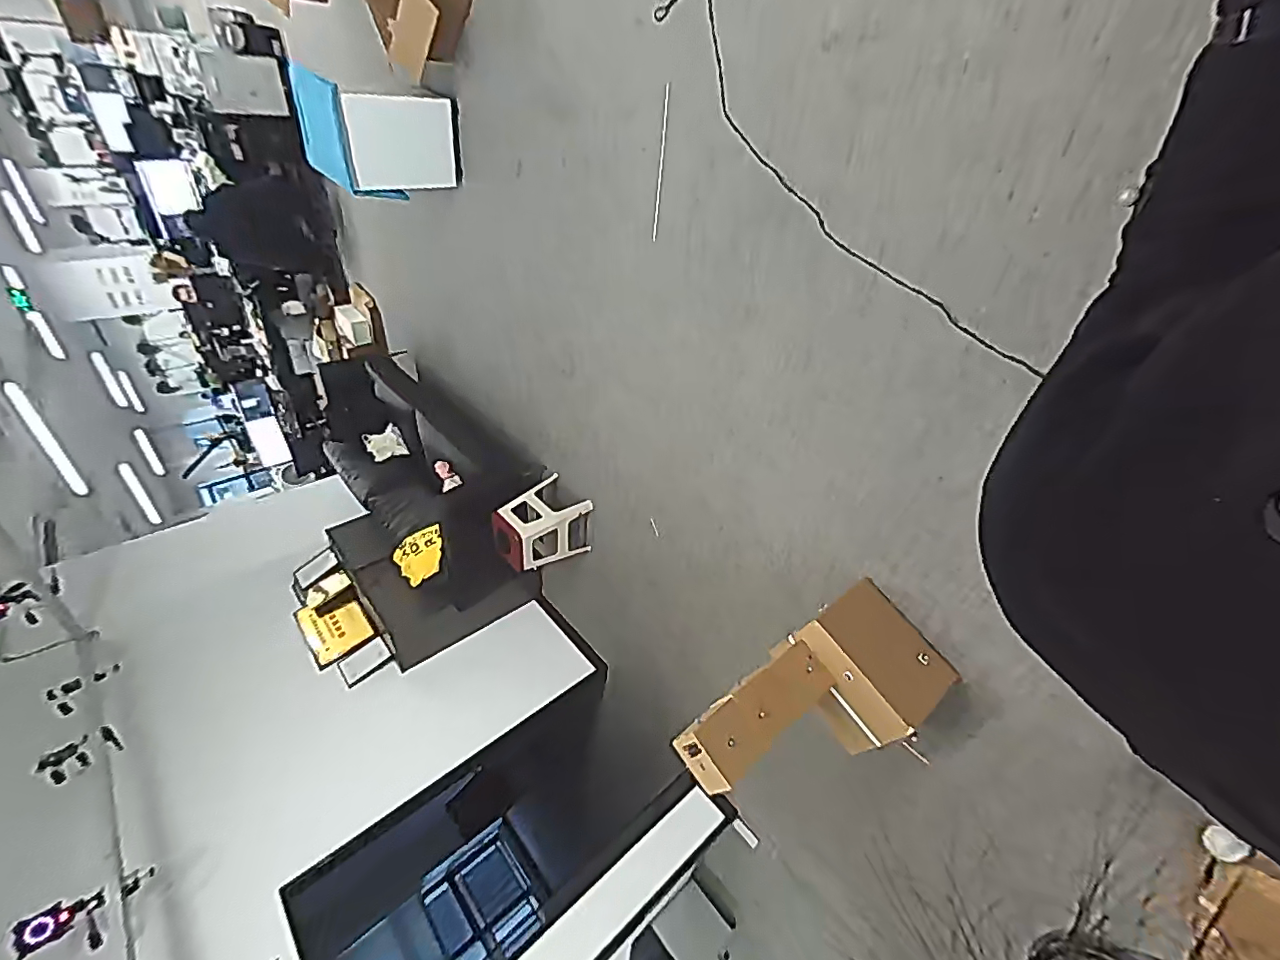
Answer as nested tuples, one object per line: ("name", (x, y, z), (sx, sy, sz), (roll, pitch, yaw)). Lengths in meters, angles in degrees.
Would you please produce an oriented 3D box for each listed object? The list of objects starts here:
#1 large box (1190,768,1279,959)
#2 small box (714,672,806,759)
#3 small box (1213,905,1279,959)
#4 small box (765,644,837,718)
("large box", (1.422, 0.879, 1.061), (0.408, 0.320, 0.320), (23, 128, 43))
("small box", (0.365, 0.709, 1.646), (0.179, 0.176, 0.168), (52, 145, 18))
("small box", (1.182, 0.920, 0.972), (0.179, 0.176, 0.168), (29, 131, 41))
("small box", (0.493, 0.659, 1.732), (0.168, 0.176, 0.179), (51, 144, 20))
